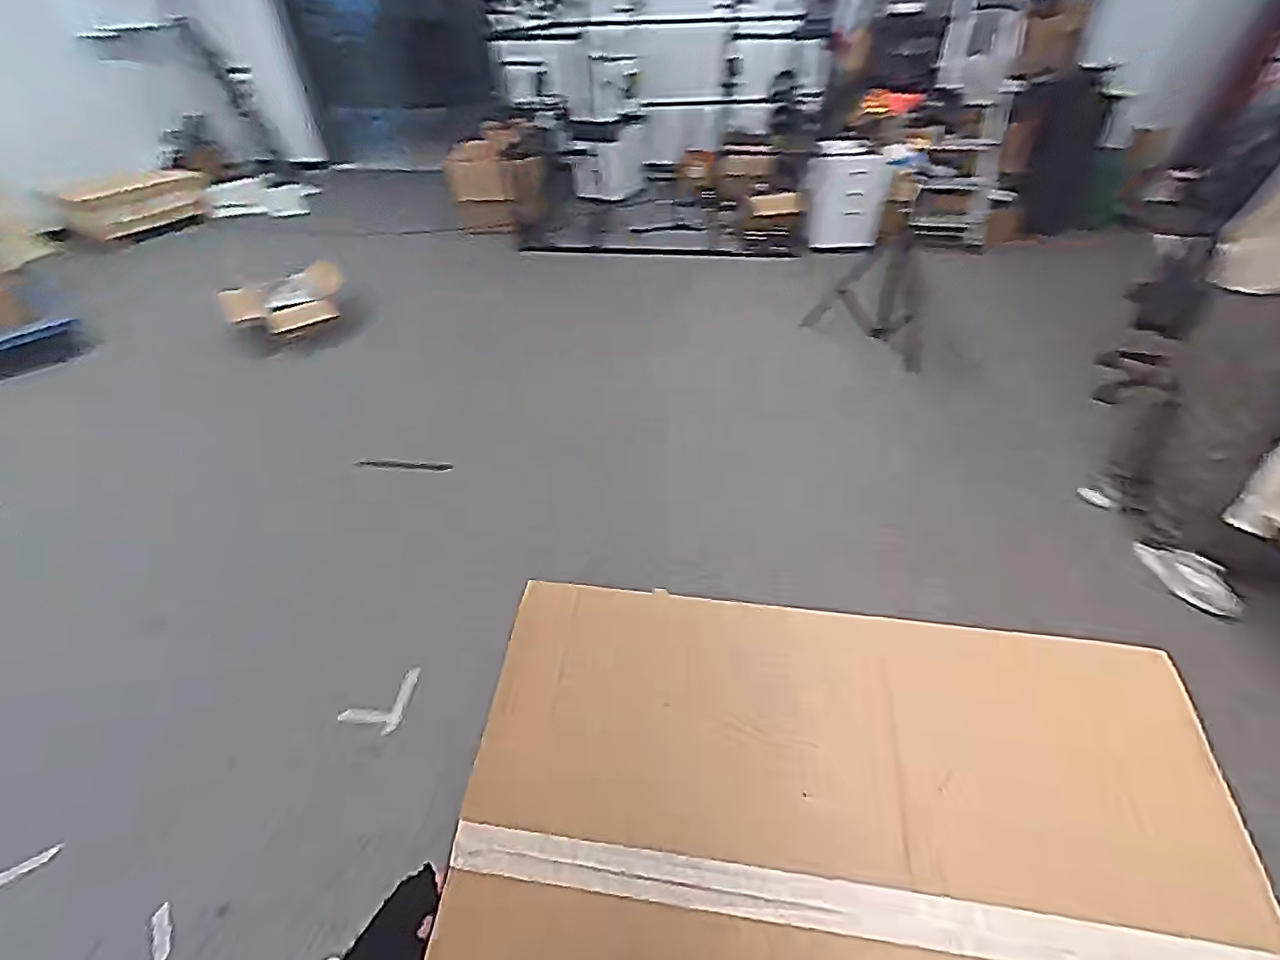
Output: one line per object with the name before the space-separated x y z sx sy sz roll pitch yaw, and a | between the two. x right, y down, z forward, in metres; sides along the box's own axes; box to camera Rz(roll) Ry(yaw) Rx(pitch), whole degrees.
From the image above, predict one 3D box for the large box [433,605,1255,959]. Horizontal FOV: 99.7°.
large box | 0.102 0.308 0.397 0.408 0.320 0.320 3 55 6
